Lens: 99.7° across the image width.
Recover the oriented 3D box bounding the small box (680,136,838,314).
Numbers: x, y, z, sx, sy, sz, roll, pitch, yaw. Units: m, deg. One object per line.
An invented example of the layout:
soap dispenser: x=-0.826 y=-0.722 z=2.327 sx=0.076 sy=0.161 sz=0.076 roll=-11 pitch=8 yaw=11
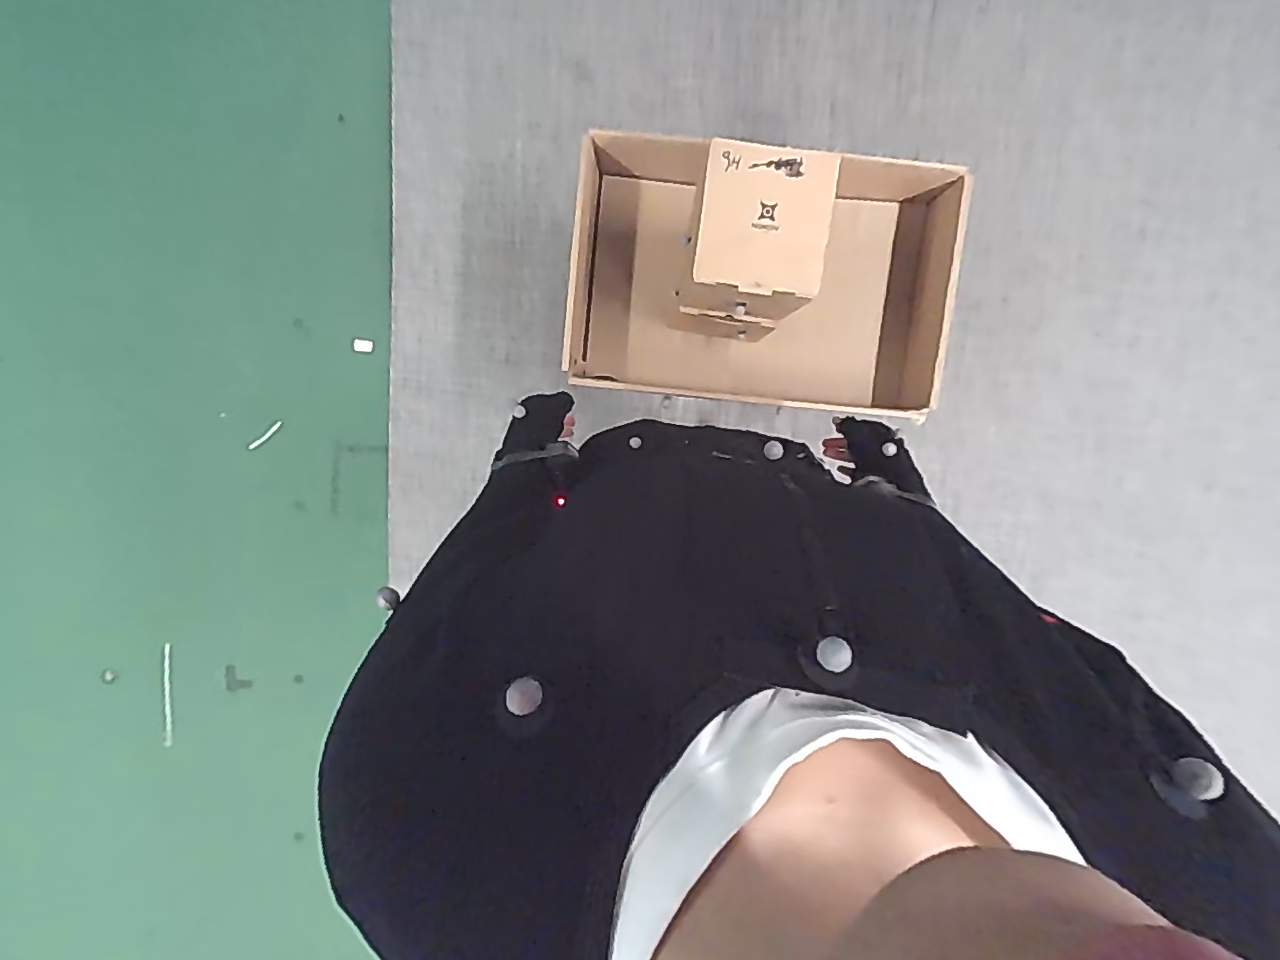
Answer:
small box: x=0.153 y=-0.340 z=0.759 sx=0.168 sy=0.176 sz=0.179 roll=8 pitch=98 yaw=-3

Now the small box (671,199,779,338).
small box: x=0.148 y=-0.350 z=0.923 sx=0.168 sy=0.176 sz=0.179 roll=8 pitch=95 yaw=-2
